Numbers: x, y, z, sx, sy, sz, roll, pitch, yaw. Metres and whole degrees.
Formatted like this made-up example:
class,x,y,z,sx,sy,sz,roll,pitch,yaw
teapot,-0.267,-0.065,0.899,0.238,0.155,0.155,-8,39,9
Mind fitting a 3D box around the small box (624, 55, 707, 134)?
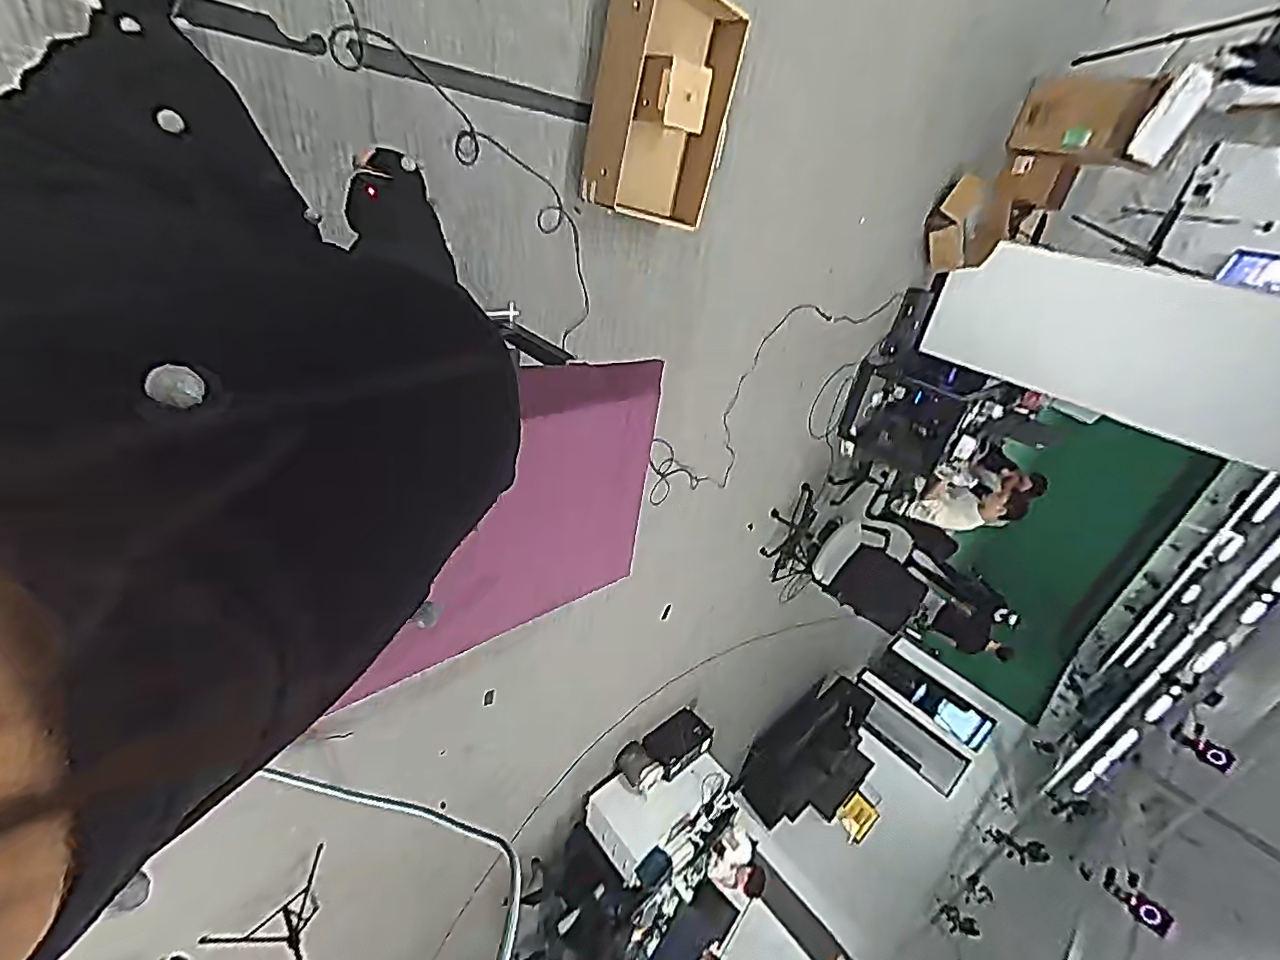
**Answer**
class,x,y,z,sx,sy,sz,roll,pitch,yaw
small box,0.073,-1.179,1.656,0.179,0.176,0.168,-17,131,-40
